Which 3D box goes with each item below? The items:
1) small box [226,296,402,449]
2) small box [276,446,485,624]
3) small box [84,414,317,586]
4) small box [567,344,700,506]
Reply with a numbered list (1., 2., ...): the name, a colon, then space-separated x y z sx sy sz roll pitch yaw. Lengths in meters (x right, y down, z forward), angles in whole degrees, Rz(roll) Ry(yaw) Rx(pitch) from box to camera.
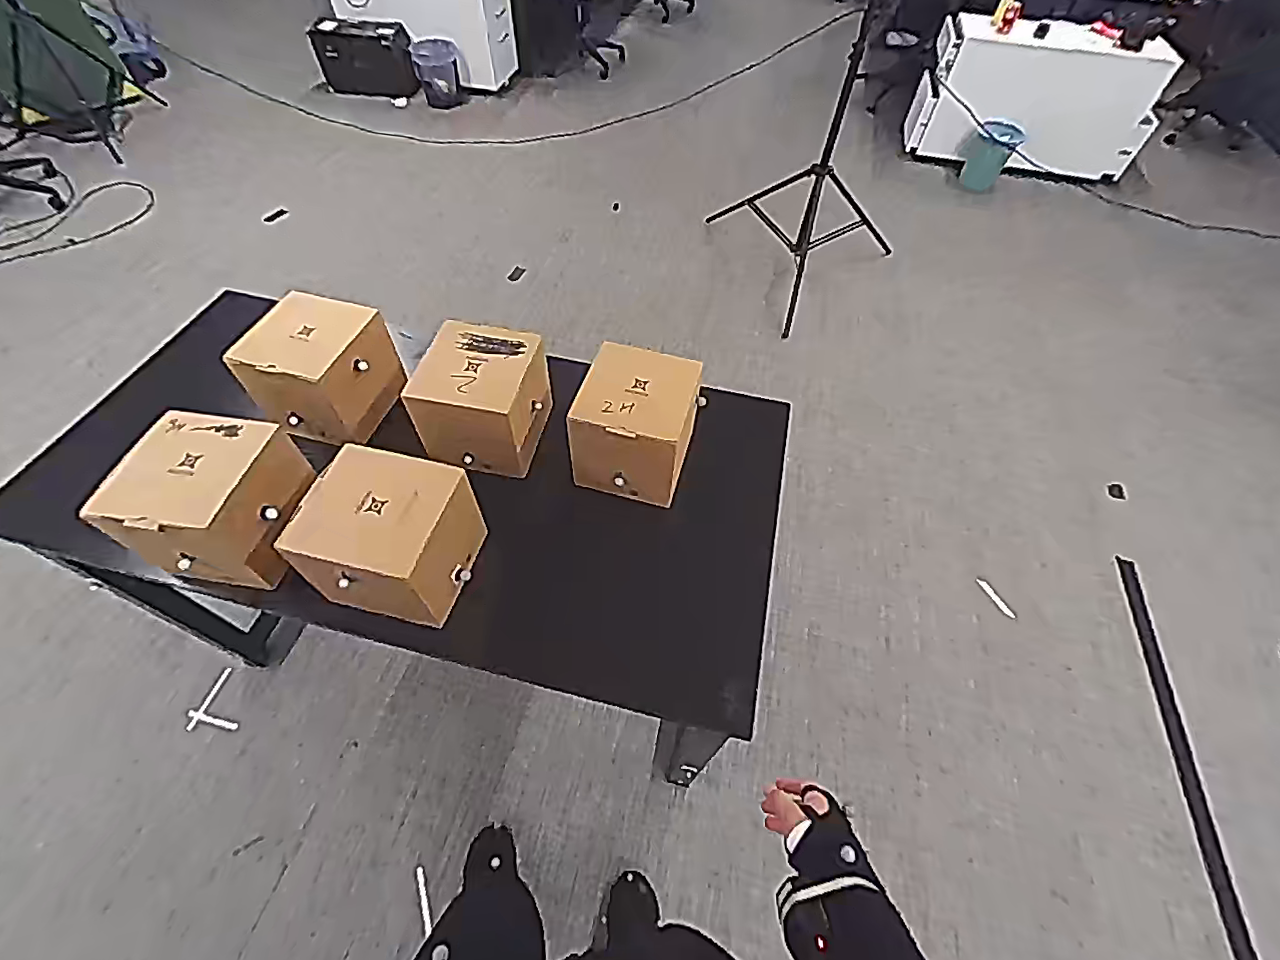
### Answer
1. small box: -0.535 -0.180 0.924 0.168 0.176 0.179 13 55 7
2. small box: -0.338 0.081 0.745 0.179 0.176 0.168 12 55 5
3. small box: -0.590 0.034 0.767 0.168 0.176 0.179 7 55 3
4. small box: -0.009 -0.087 0.876 0.168 0.176 0.179 14 55 8
